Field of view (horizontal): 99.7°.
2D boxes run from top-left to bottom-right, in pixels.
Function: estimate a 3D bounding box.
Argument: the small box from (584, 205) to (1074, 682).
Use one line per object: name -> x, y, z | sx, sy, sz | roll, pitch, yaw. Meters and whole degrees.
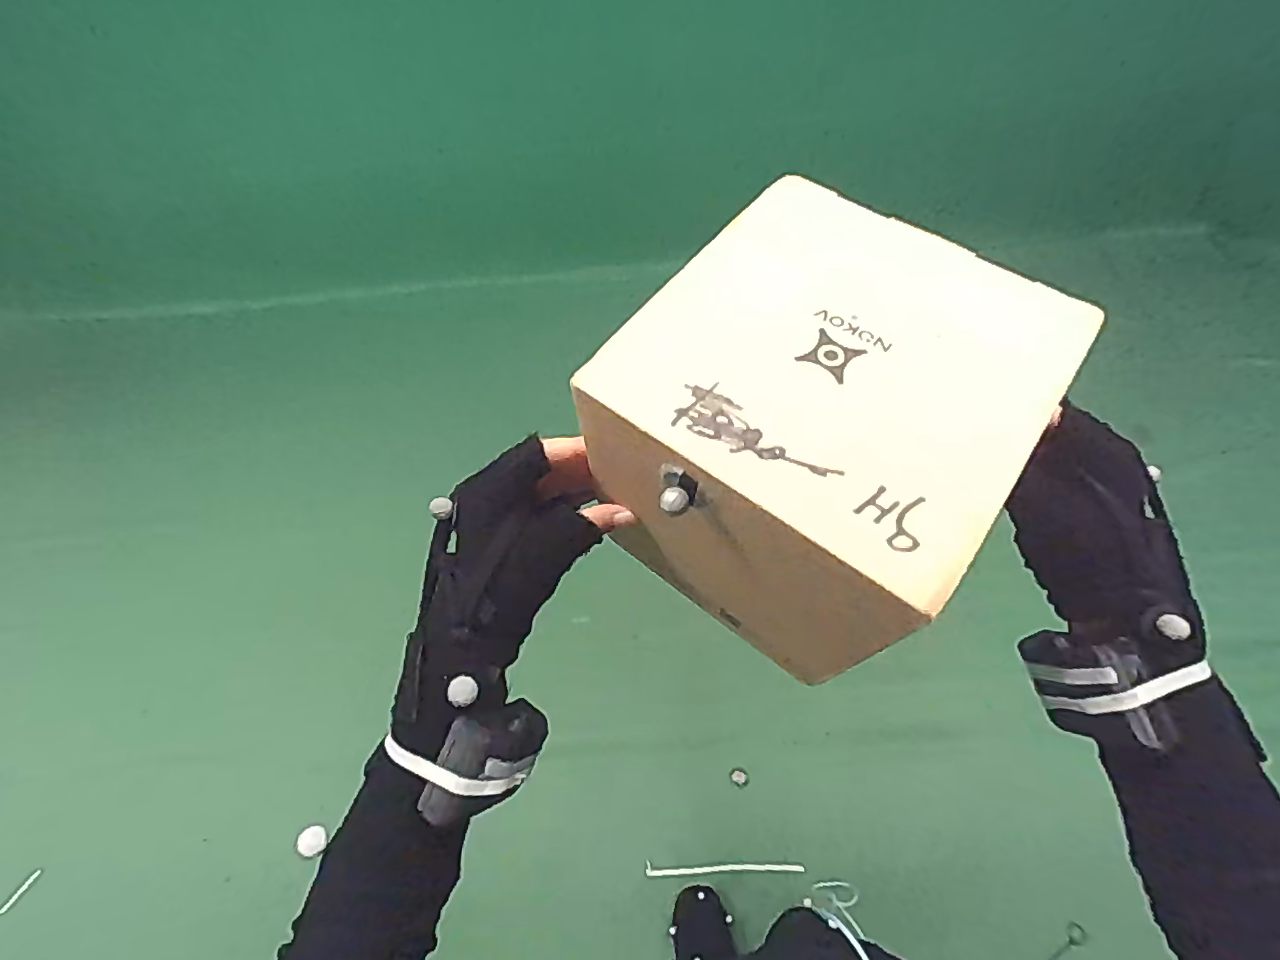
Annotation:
small box -> 0.089, -0.014, 0.315 | 0.168, 0.176, 0.179 | 35, 66, 20
